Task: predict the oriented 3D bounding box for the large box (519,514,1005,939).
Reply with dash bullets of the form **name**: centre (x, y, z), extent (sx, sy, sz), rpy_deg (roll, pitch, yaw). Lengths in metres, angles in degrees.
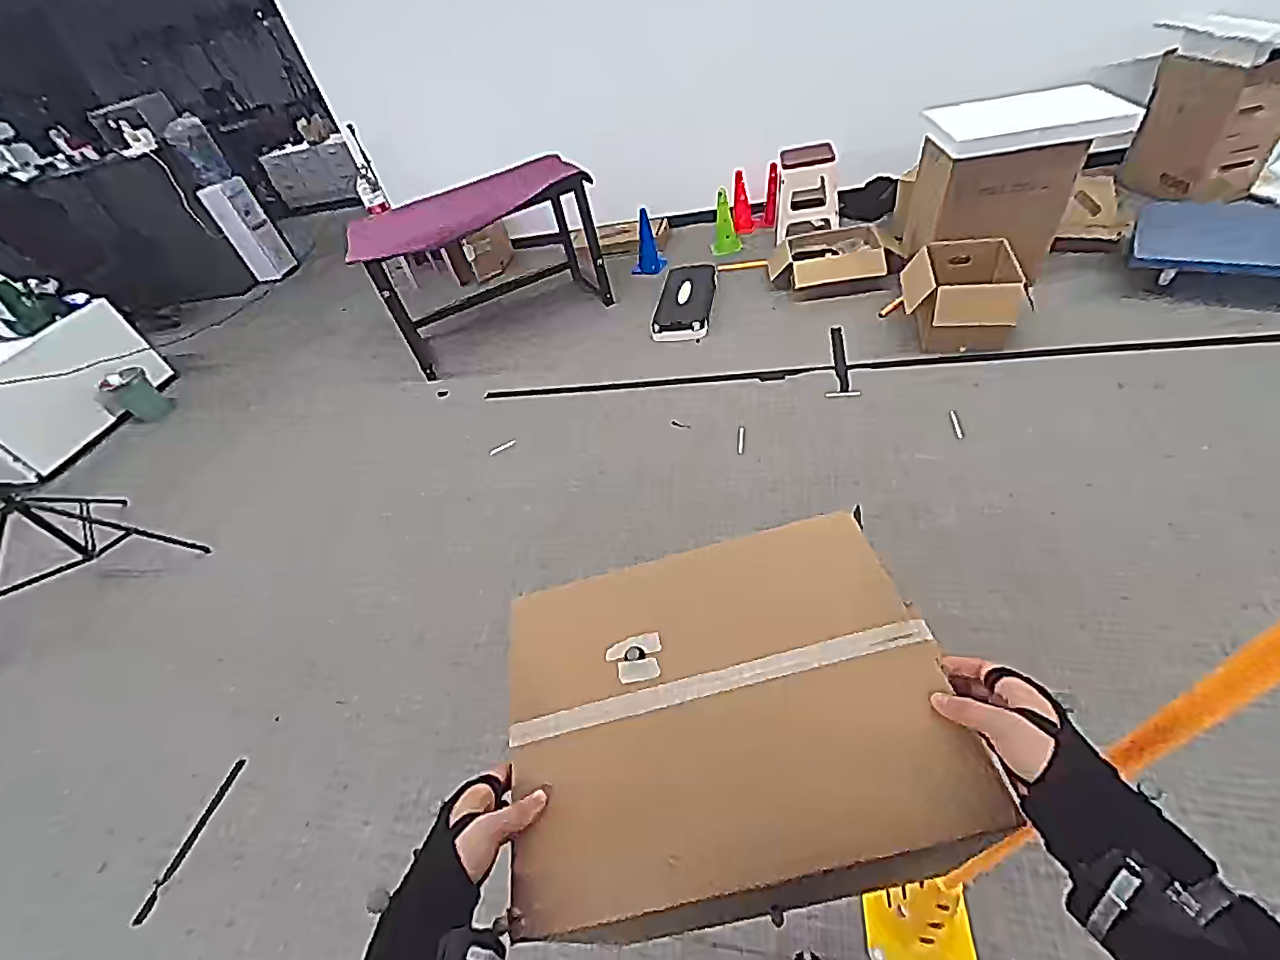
- **large box**: centre (0.109, 0.298, 0.637), extent (0.408, 0.320, 0.320), rpy_deg (-17, 46, 4)
